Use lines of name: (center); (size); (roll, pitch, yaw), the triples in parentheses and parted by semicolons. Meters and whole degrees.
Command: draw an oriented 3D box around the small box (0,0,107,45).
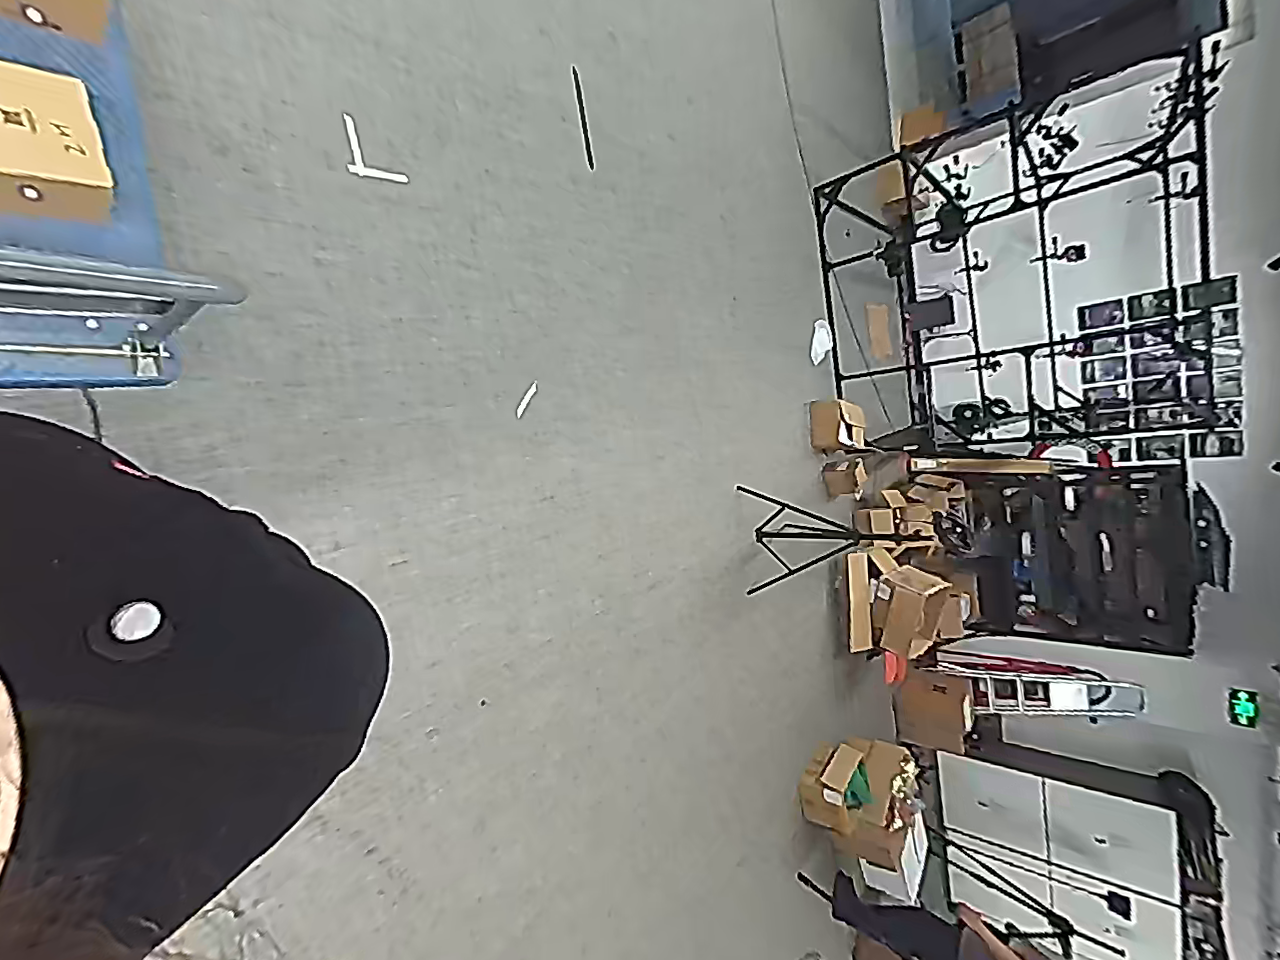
small box: (-1.011, -0.875, 0.882); (0.168, 0.176, 0.179); (-16, 100, -48)

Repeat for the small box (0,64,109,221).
small box: (-1.002, -0.537, 0.870); (0.179, 0.176, 0.168); (-19, 102, -48)
